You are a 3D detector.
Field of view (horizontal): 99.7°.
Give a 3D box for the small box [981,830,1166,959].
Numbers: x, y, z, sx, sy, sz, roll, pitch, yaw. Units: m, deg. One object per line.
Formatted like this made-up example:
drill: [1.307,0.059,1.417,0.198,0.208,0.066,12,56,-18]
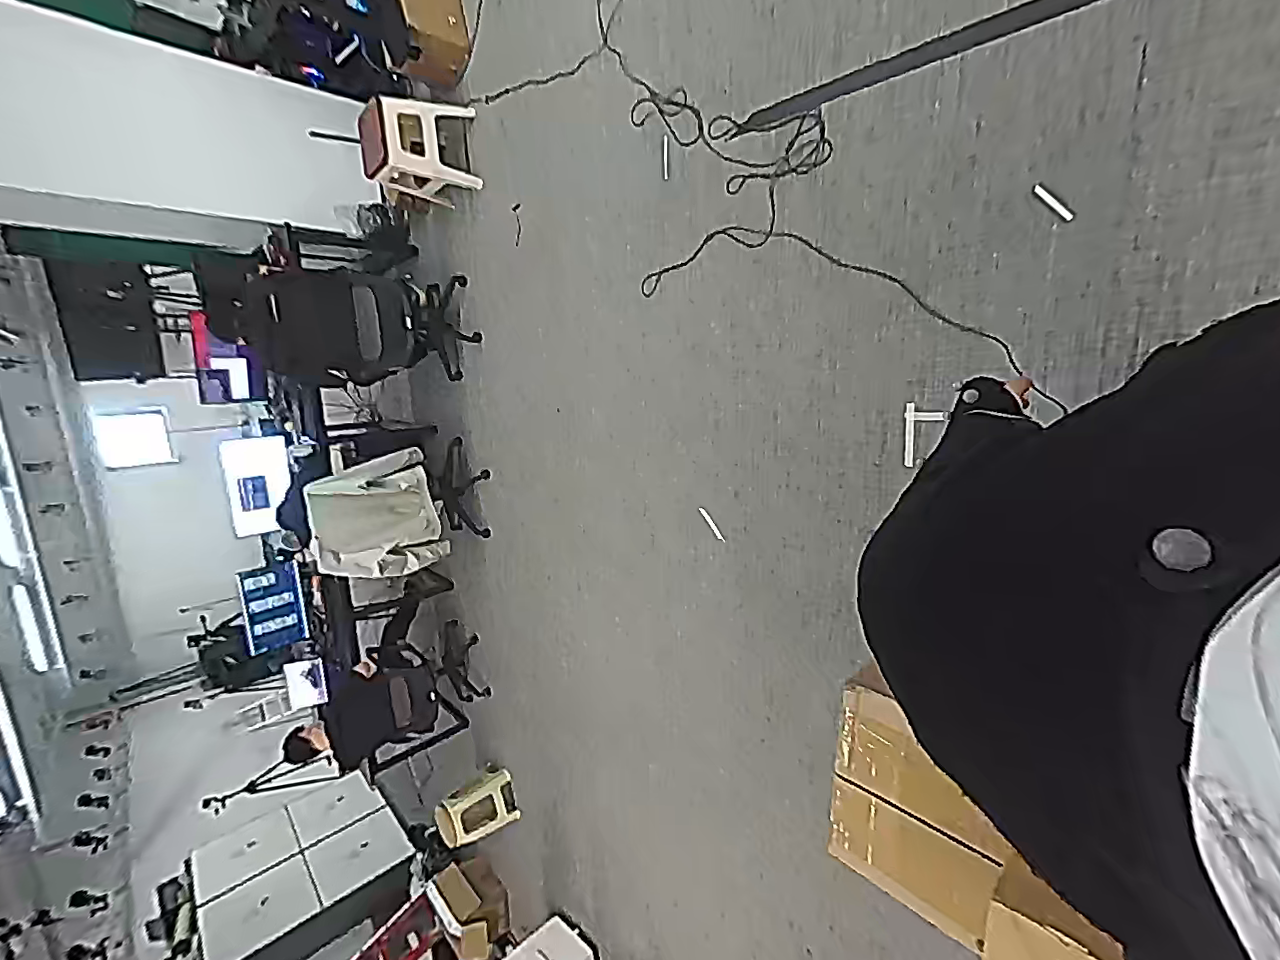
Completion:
small box: [0.584,0.634,0.732,0.168,0.176,0.179,10,105,46]
